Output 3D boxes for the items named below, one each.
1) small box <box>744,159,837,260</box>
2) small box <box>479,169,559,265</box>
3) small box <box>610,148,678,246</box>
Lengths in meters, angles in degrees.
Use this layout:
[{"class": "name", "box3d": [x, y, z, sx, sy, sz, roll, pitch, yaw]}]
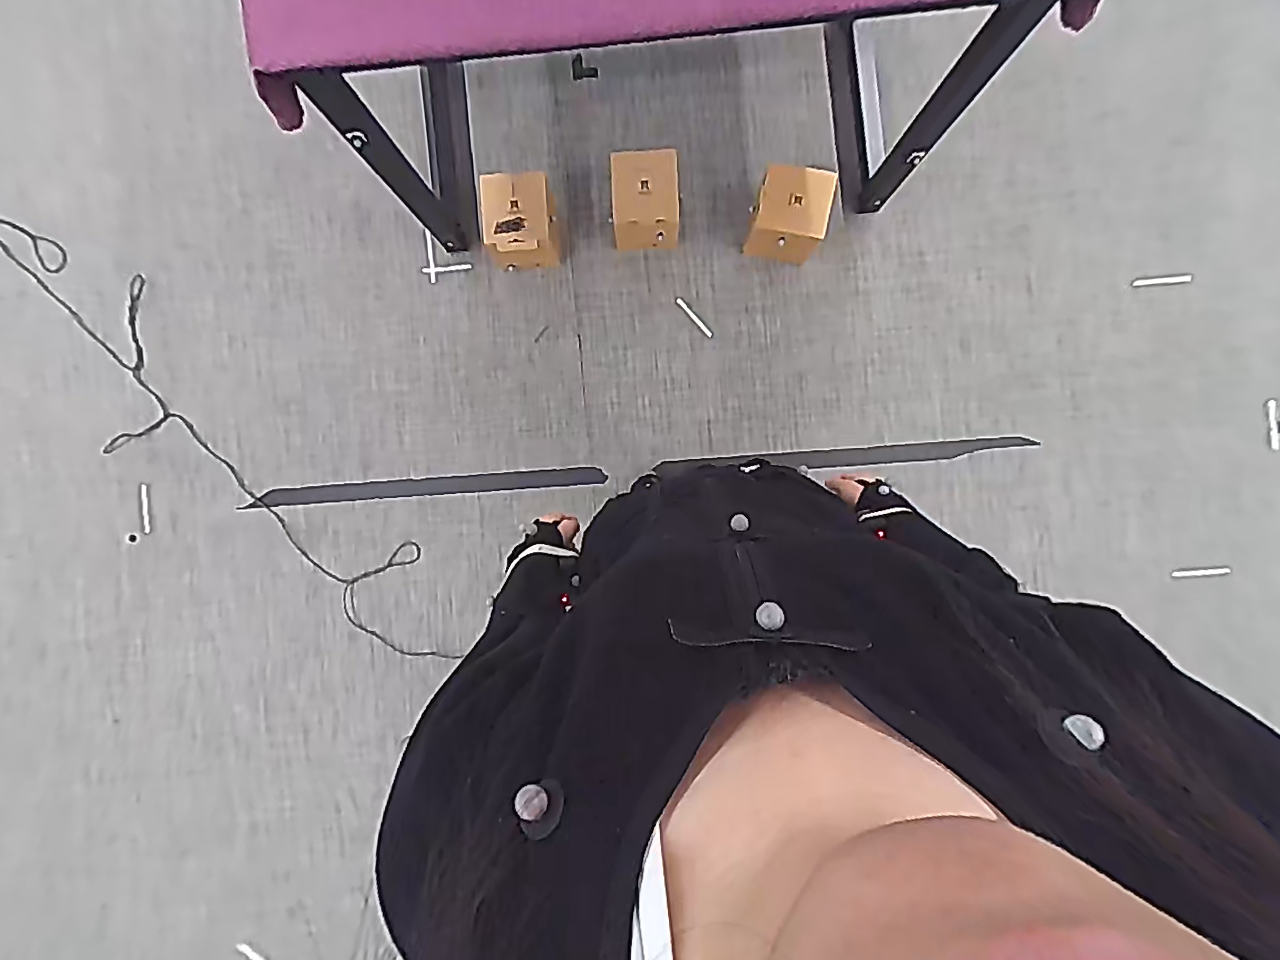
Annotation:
[{"class": "small box", "box3d": [0.383, -0.691, 1.403, 0.179, 0.176, 0.168, 12, 92, 2]}, {"class": "small box", "box3d": [-0.309, -0.675, 1.412, 0.168, 0.176, 0.179, -4, 90, 1]}, {"class": "small box", "box3d": [0.011, -0.726, 1.408, 0.168, 0.176, 0.179, -3, 90, 0]}]
